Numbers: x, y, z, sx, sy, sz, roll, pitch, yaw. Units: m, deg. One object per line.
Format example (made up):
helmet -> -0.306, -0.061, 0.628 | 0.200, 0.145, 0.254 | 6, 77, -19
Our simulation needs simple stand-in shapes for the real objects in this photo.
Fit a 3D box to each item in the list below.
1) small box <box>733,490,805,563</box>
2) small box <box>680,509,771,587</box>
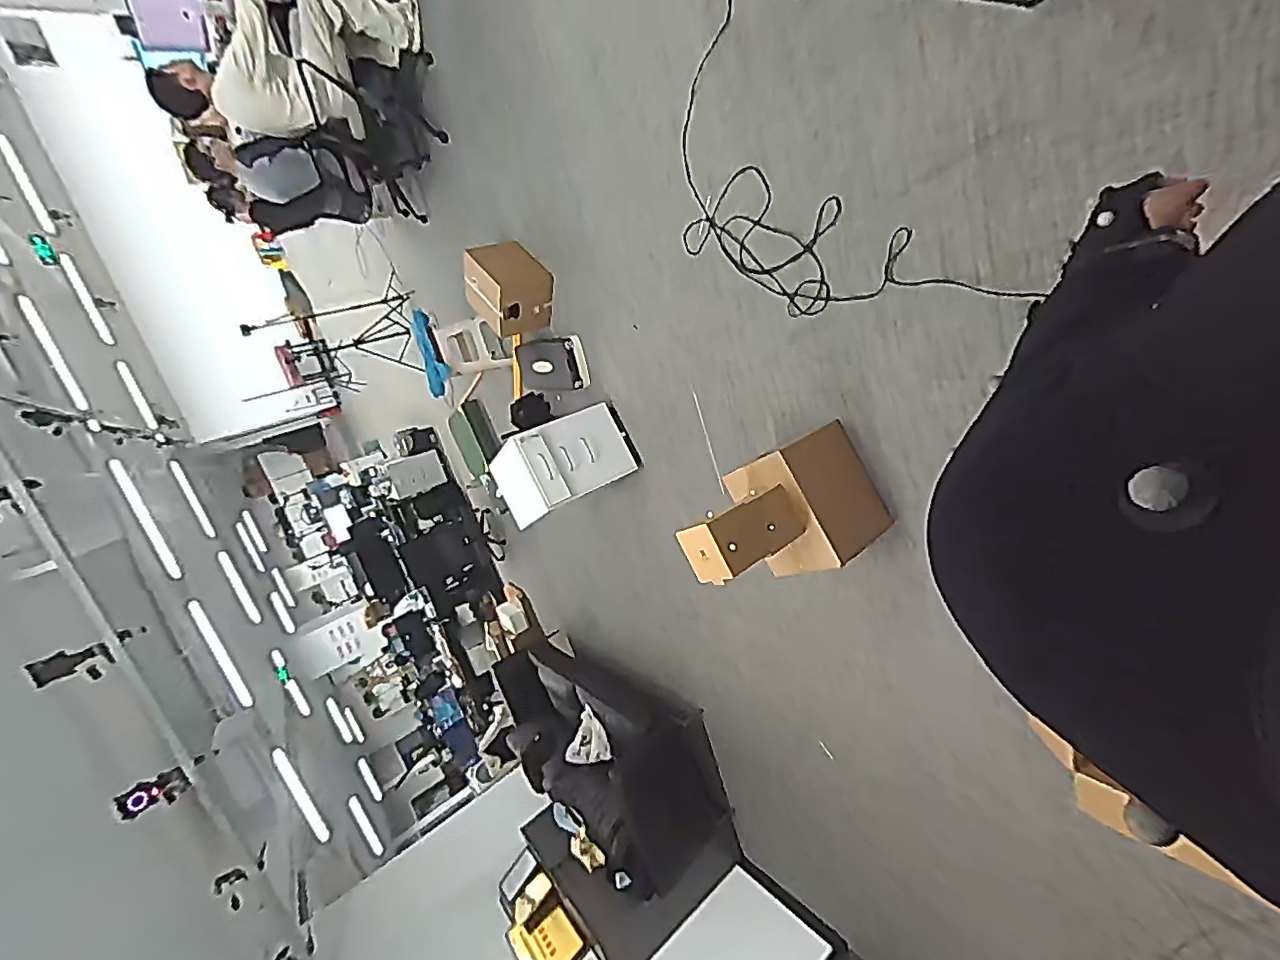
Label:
small box -> 0.389, 0.153, 1.712 | 0.168, 0.176, 0.179 | -30, 86, 58
small box -> 0.258, 0.200, 1.627 | 0.168, 0.176, 0.179 | -29, 87, 58
